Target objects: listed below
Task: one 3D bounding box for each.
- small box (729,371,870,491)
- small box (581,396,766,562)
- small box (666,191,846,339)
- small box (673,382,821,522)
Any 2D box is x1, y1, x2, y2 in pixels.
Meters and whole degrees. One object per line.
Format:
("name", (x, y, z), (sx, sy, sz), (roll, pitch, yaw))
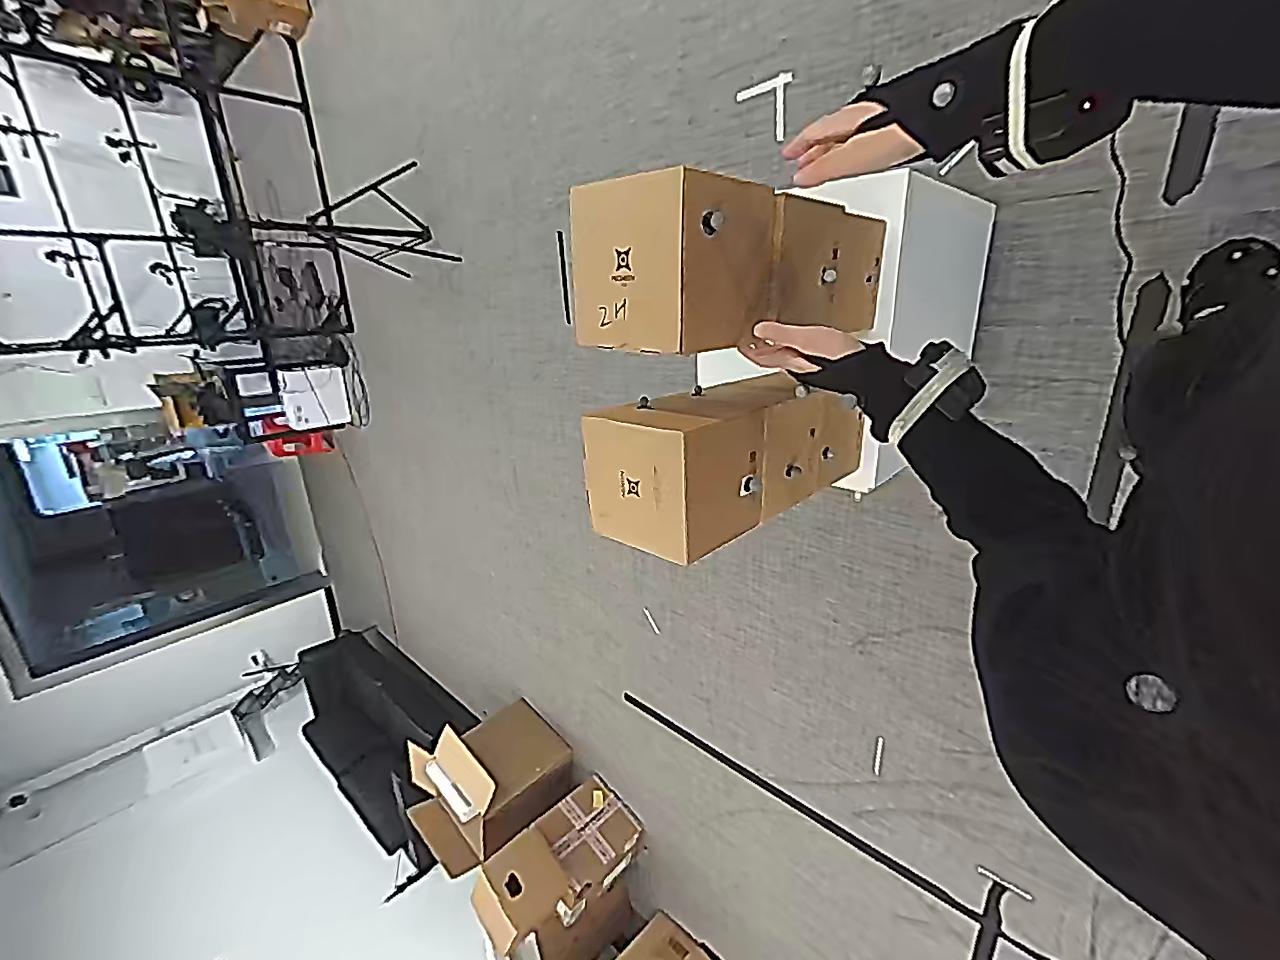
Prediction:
("small box", (0.271, -0.095, 0.938), (0.179, 0.176, 0.168), (16, 116, 42))
("small box", (0.045, -0.015, 0.717), (0.179, 0.176, 0.168), (13, 115, 42))
("small box", (0.154, -0.288, 0.739), (0.179, 0.176, 0.168), (17, 117, 40))
("small box", (0.159, -0.055, 0.826), (0.179, 0.176, 0.168), (14, 115, 43))
